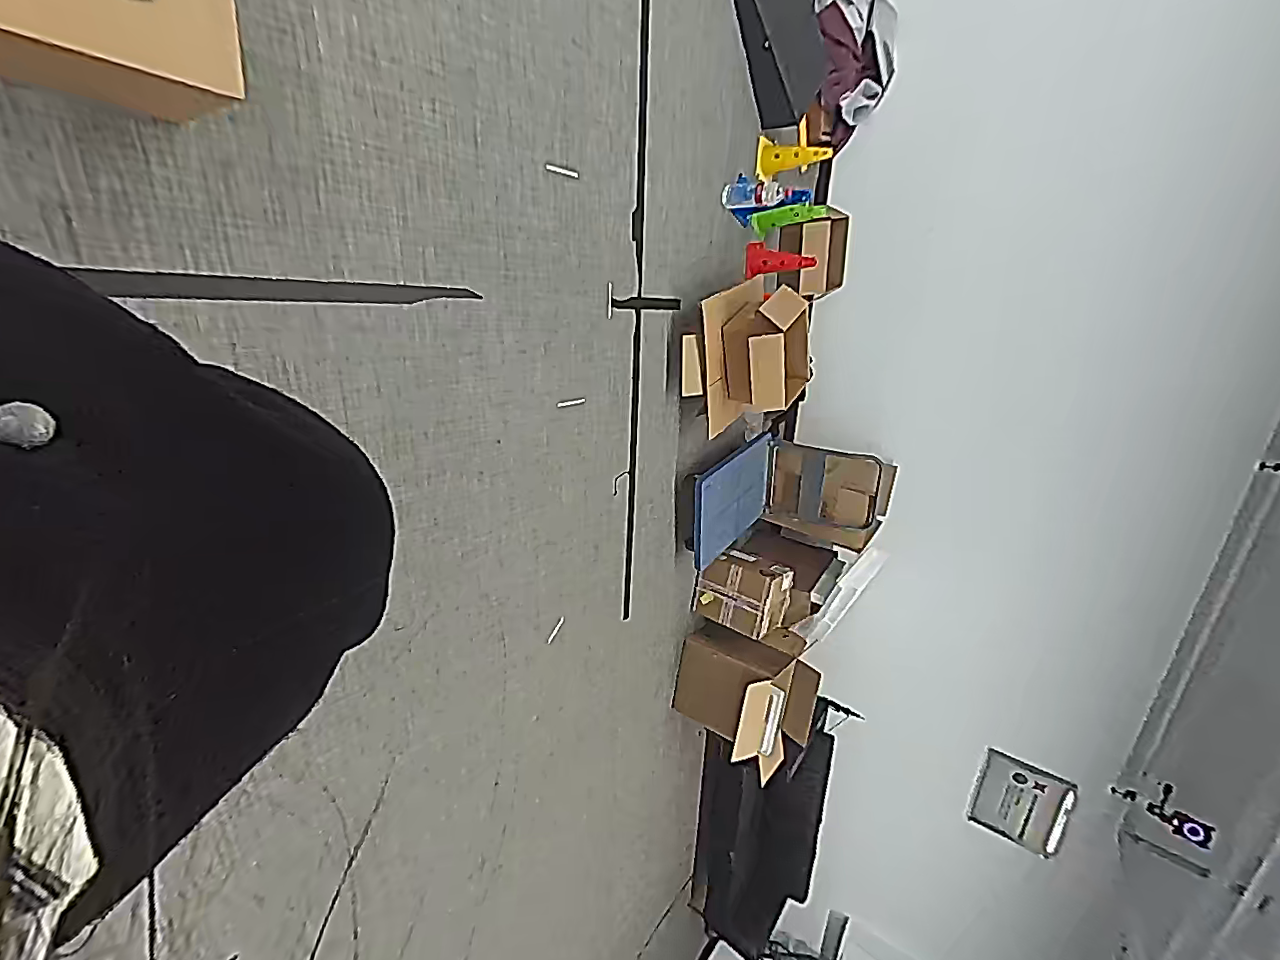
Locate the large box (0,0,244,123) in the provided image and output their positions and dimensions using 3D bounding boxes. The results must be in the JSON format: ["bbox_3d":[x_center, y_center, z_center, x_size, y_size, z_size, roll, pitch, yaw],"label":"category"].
[{"bbox_3d":[-0.888,-0.769,0.782,0.408,0.320,0.320,-19,119,-52],"label":"large box"}]
